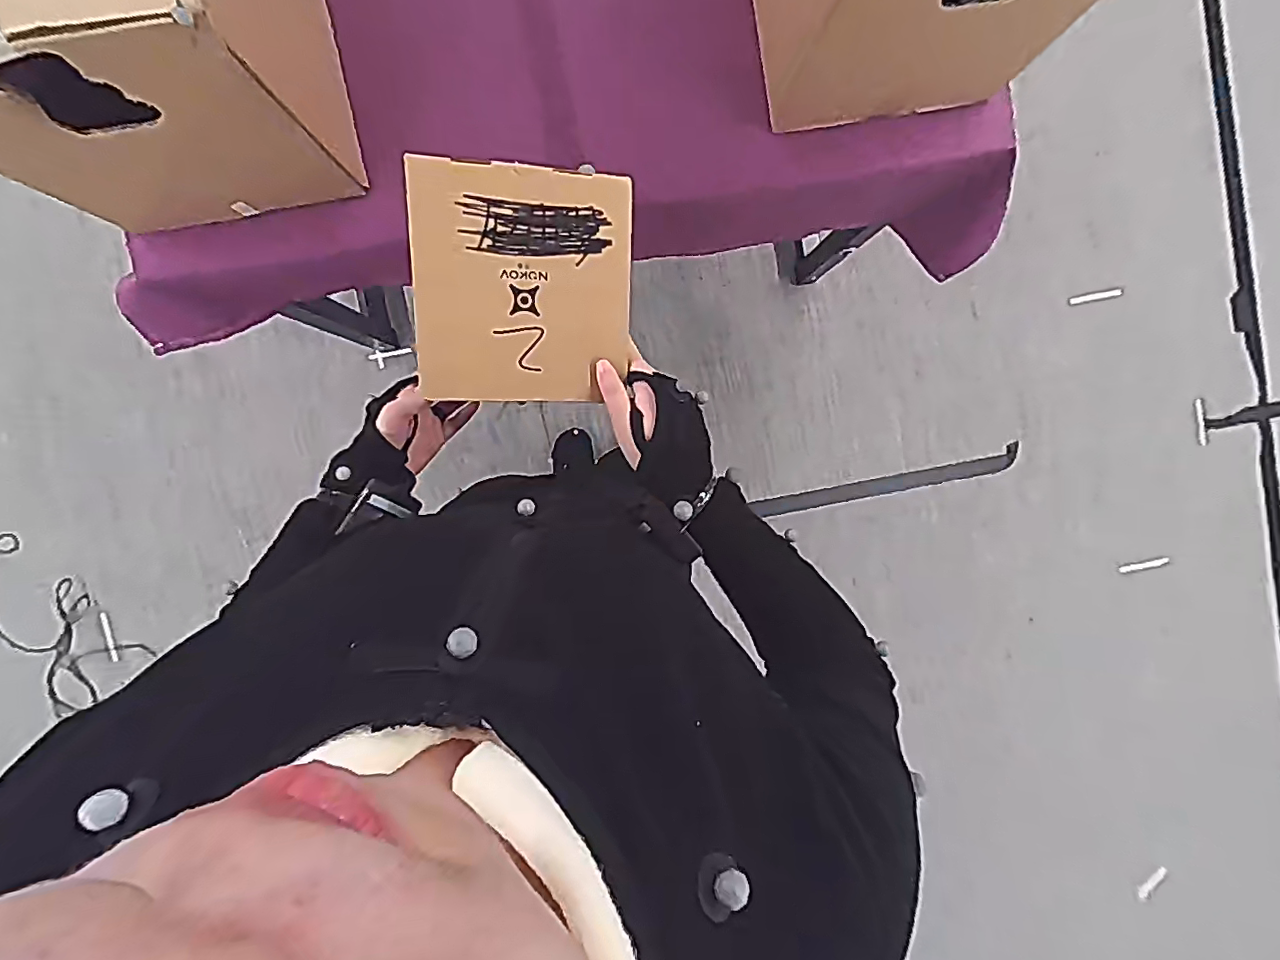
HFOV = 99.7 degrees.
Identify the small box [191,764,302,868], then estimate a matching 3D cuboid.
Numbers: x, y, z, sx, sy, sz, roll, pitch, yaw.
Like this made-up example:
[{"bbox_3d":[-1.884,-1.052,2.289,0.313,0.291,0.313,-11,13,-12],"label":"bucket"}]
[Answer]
[{"bbox_3d":[-1.033,0.886,1.441,0.179,0.176,0.168,-6,96,-2],"label":"small box"}]
